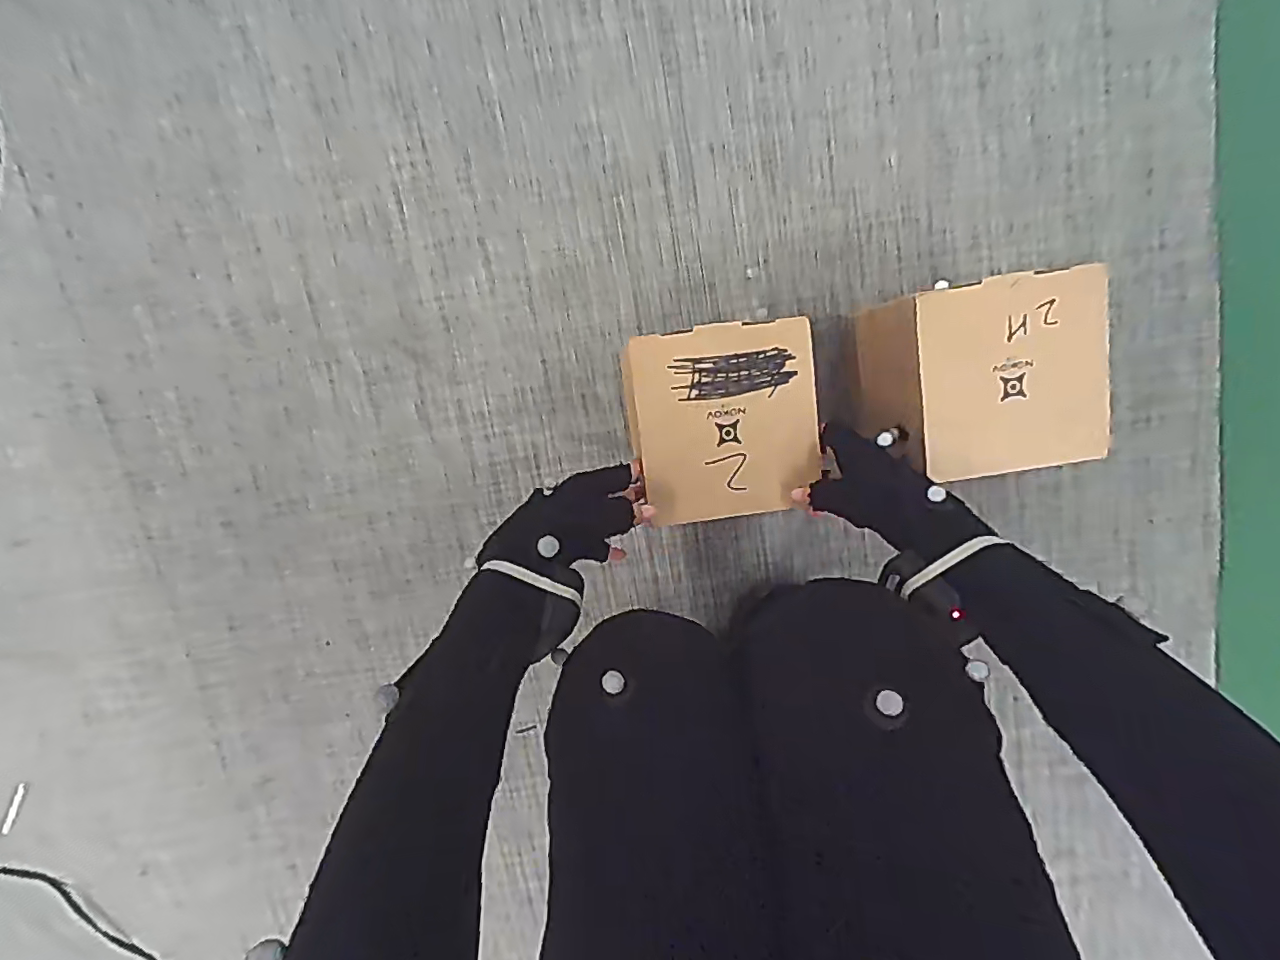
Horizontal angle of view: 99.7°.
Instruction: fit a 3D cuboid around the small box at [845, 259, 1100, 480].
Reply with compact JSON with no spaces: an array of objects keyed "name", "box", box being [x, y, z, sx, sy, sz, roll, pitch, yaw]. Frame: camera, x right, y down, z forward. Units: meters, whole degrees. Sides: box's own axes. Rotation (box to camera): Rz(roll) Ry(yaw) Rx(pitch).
[{"name":"small box","box":[0.326,-0.110,0.561,0.168,0.176,0.179,-9,100,3]}]
